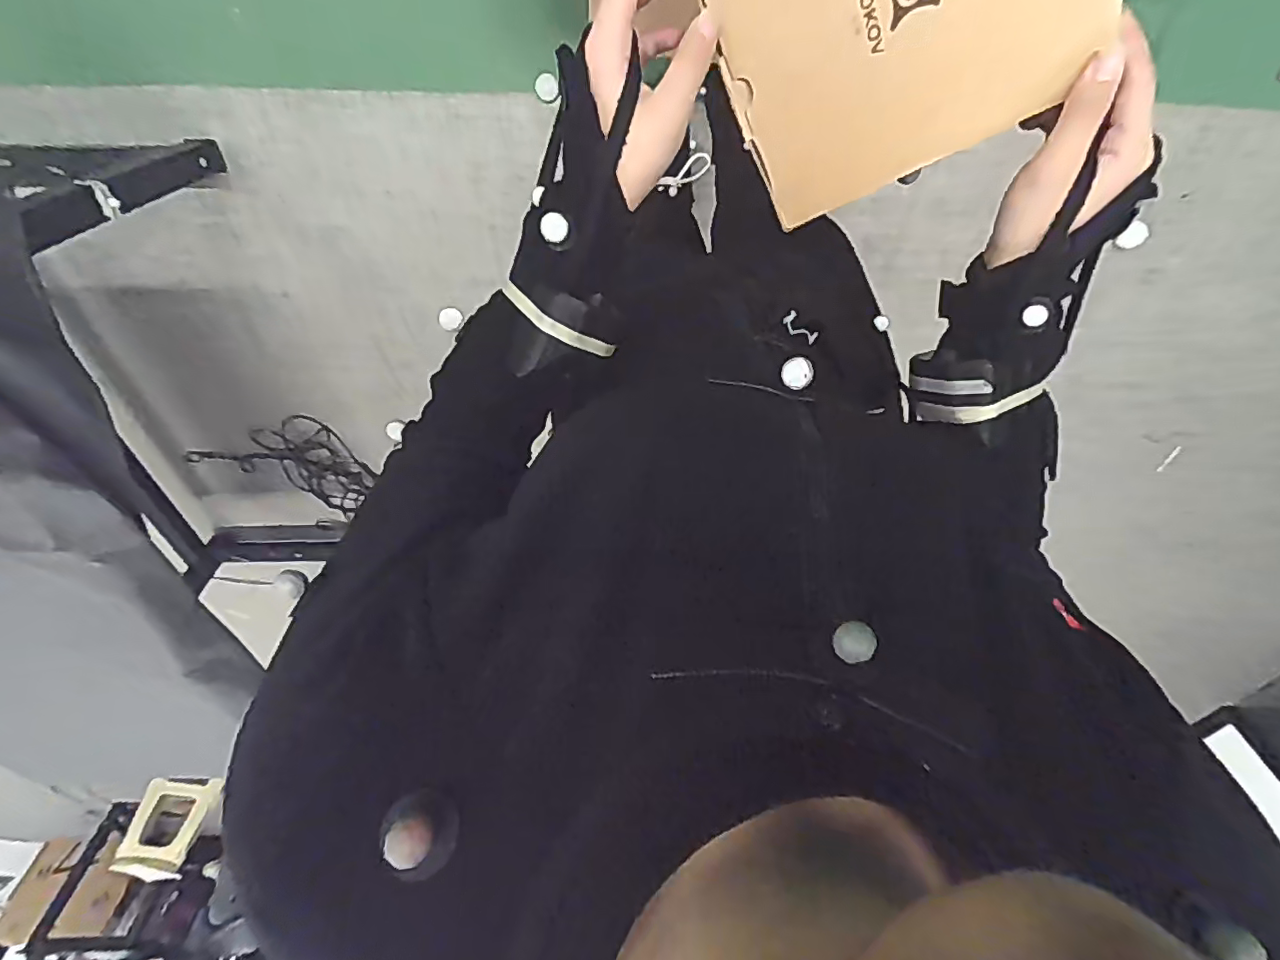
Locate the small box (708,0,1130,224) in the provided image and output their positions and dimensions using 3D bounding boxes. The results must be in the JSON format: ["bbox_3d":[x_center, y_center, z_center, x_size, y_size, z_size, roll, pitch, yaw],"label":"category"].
[{"bbox_3d":[0.143,-0.294,0.320,0.179,0.176,0.168,-17,127,27],"label":"small box"}]
